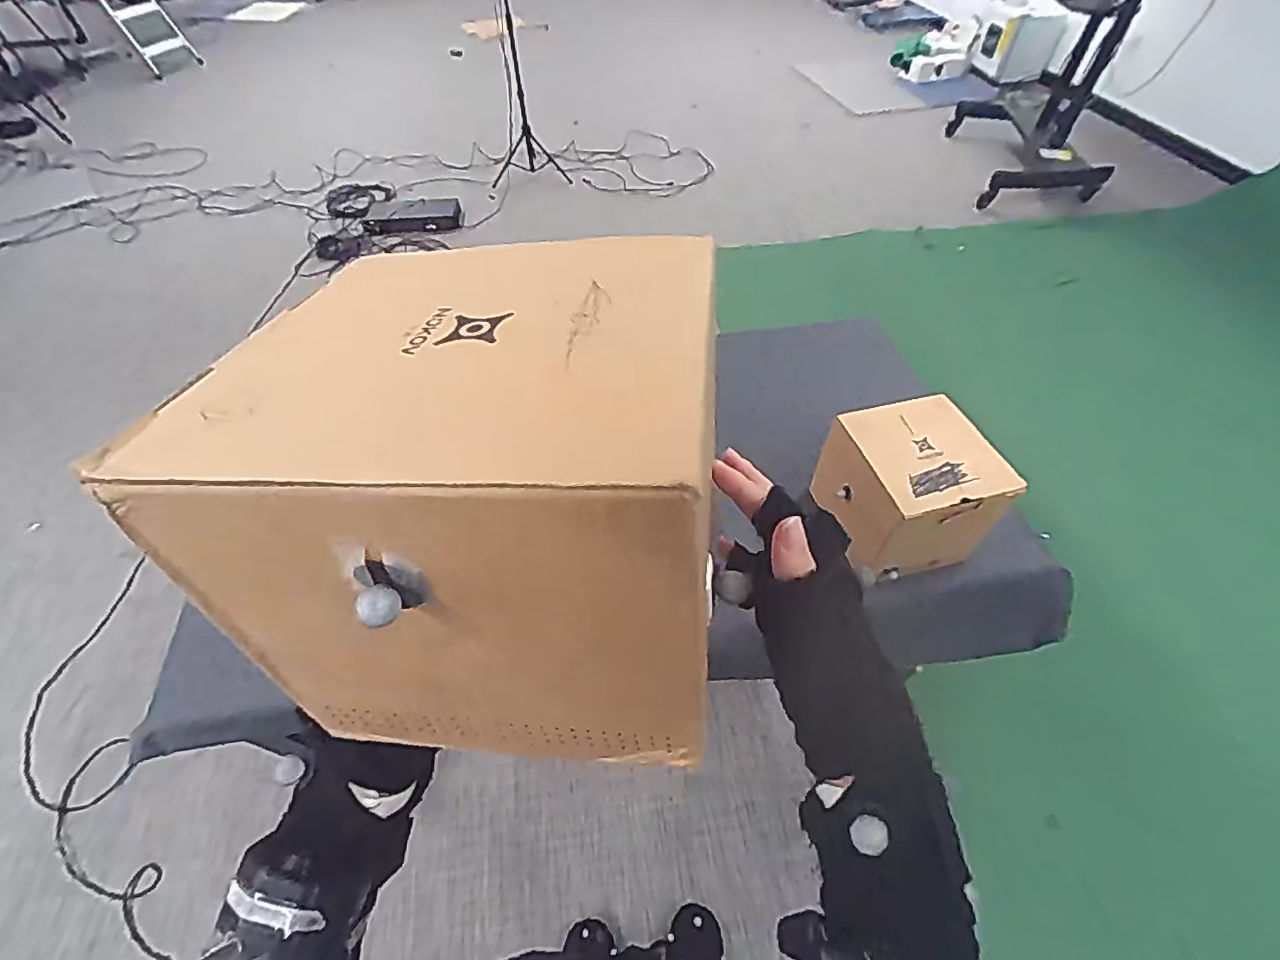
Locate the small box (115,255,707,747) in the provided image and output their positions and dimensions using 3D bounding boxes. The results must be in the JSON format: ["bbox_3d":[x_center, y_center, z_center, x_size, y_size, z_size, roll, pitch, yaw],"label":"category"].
[{"bbox_3d":[-0.059,0.008,0.260,0.179,0.176,0.168,1,42,8],"label":"small box"}]

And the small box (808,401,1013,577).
[{"bbox_3d":[0.360,0.020,0.760,0.168,0.176,0.179,-11,51,-8],"label":"small box"}]
